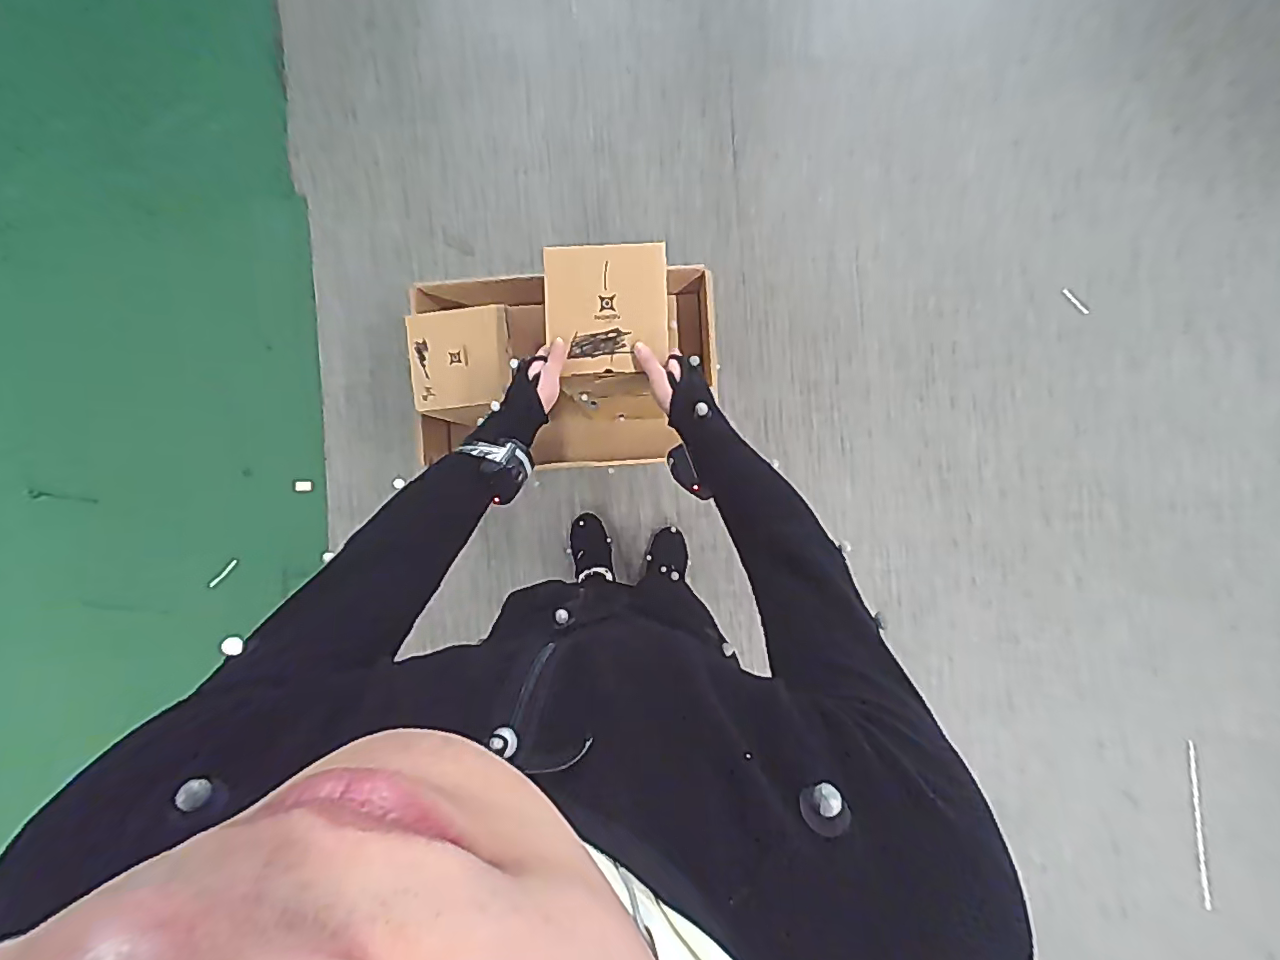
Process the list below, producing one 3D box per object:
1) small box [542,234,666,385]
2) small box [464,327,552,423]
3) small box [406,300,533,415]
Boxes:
[{"bbox_3d":[-0.045,-0.236,0.793,0.168,0.176,0.179,-2,90,1],"label":"small box"},{"bbox_3d":[-0.293,-0.215,1.146,0.179,0.176,0.168,-4,90,1],"label":"small box"},{"bbox_3d":[-0.298,-0.214,0.983,0.179,0.176,0.168,-6,90,1],"label":"small box"}]
